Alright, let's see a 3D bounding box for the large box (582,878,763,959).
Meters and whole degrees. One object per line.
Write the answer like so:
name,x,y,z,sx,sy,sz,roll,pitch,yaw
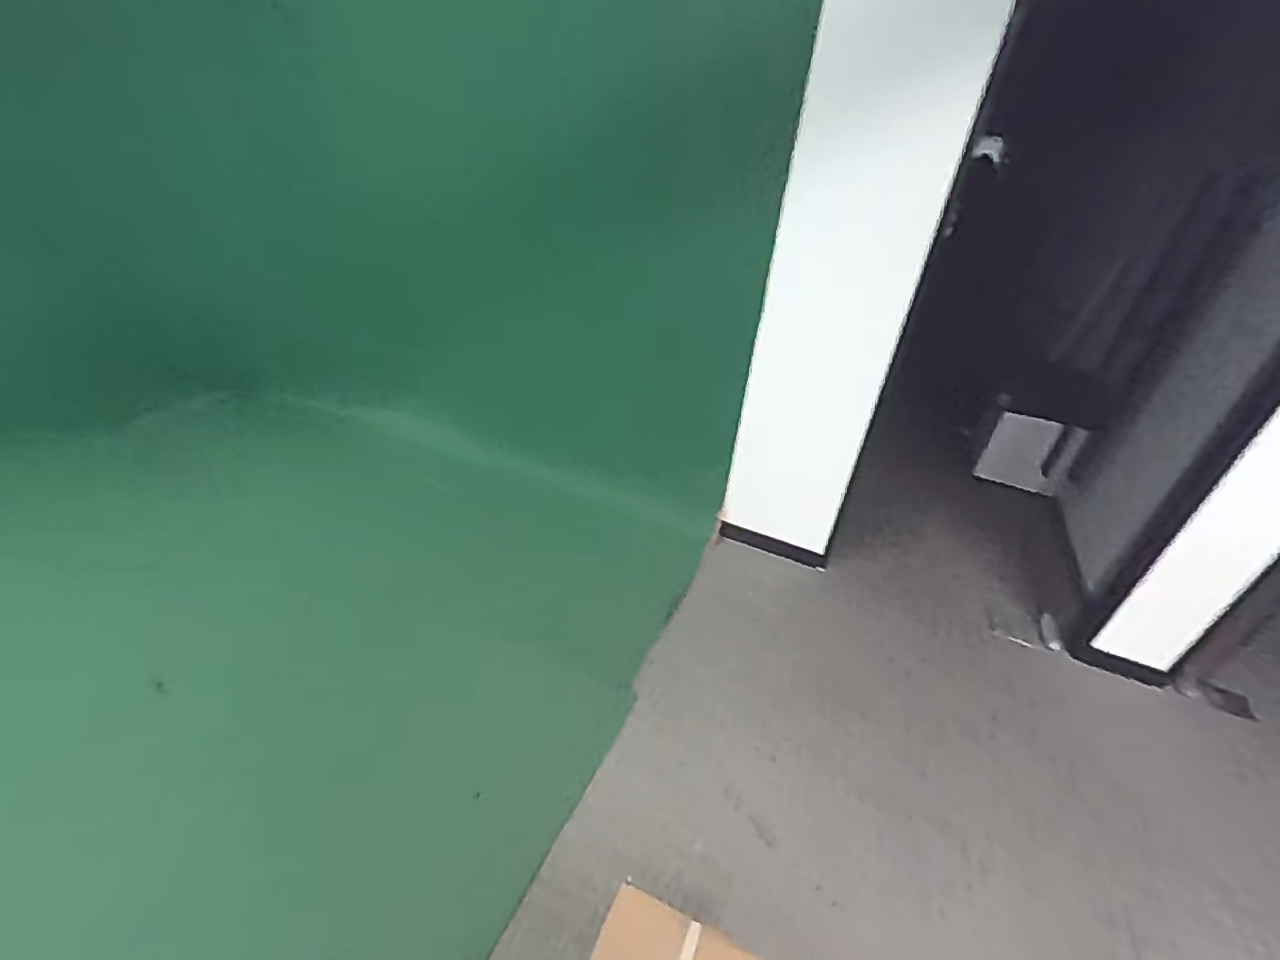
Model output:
large box,0.003,1.047,0.946,0.320,0.320,0.408,18,34,18
